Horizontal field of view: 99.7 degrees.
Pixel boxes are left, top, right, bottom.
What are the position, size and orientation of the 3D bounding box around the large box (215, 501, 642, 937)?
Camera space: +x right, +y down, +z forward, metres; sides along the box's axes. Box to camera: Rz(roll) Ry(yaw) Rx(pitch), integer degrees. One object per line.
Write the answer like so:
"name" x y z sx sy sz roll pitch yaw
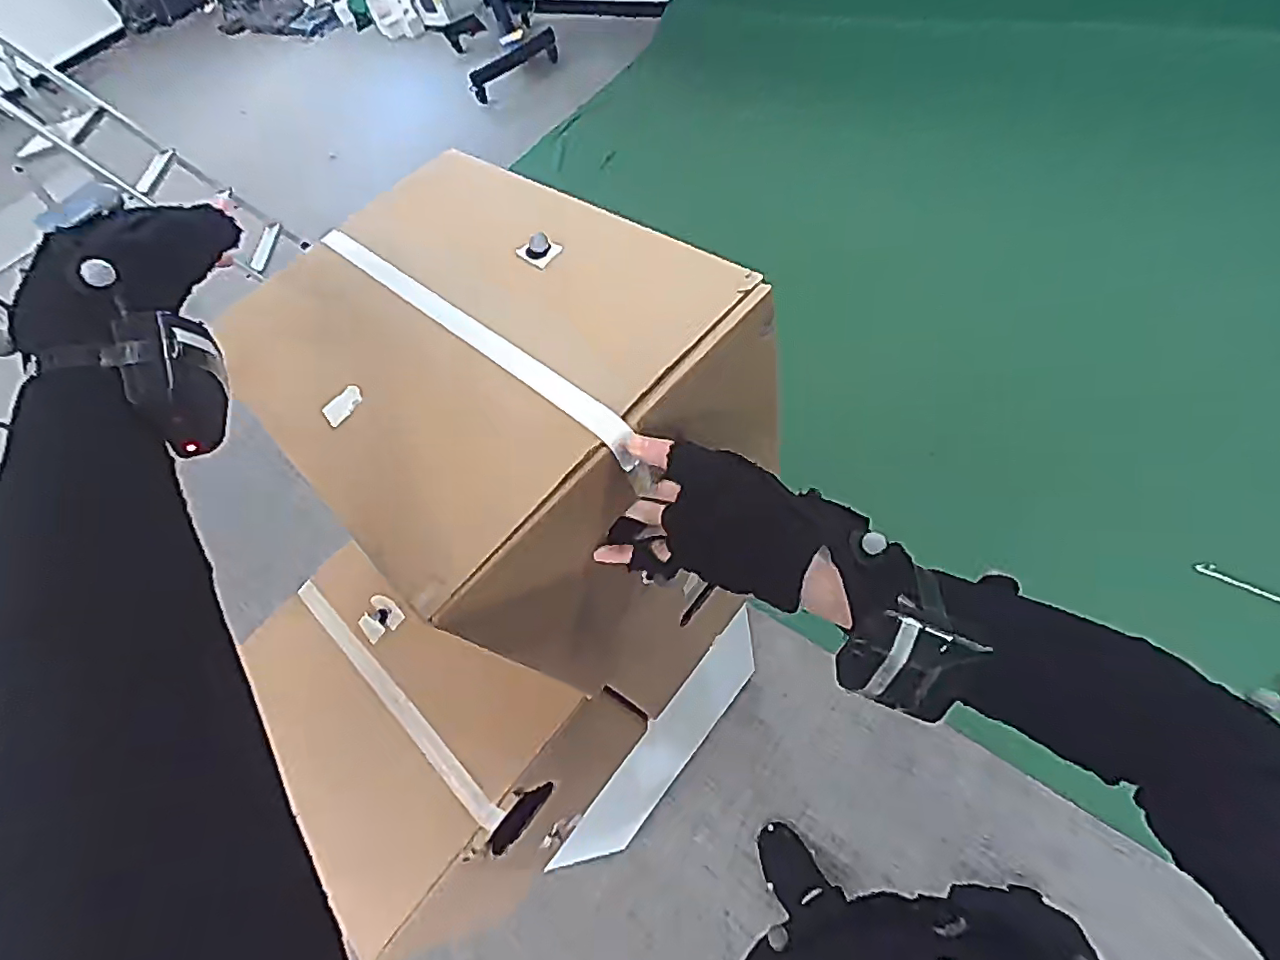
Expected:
"large box" -0.265 0.303 0.756 0.408 0.320 0.320 32 71 29
